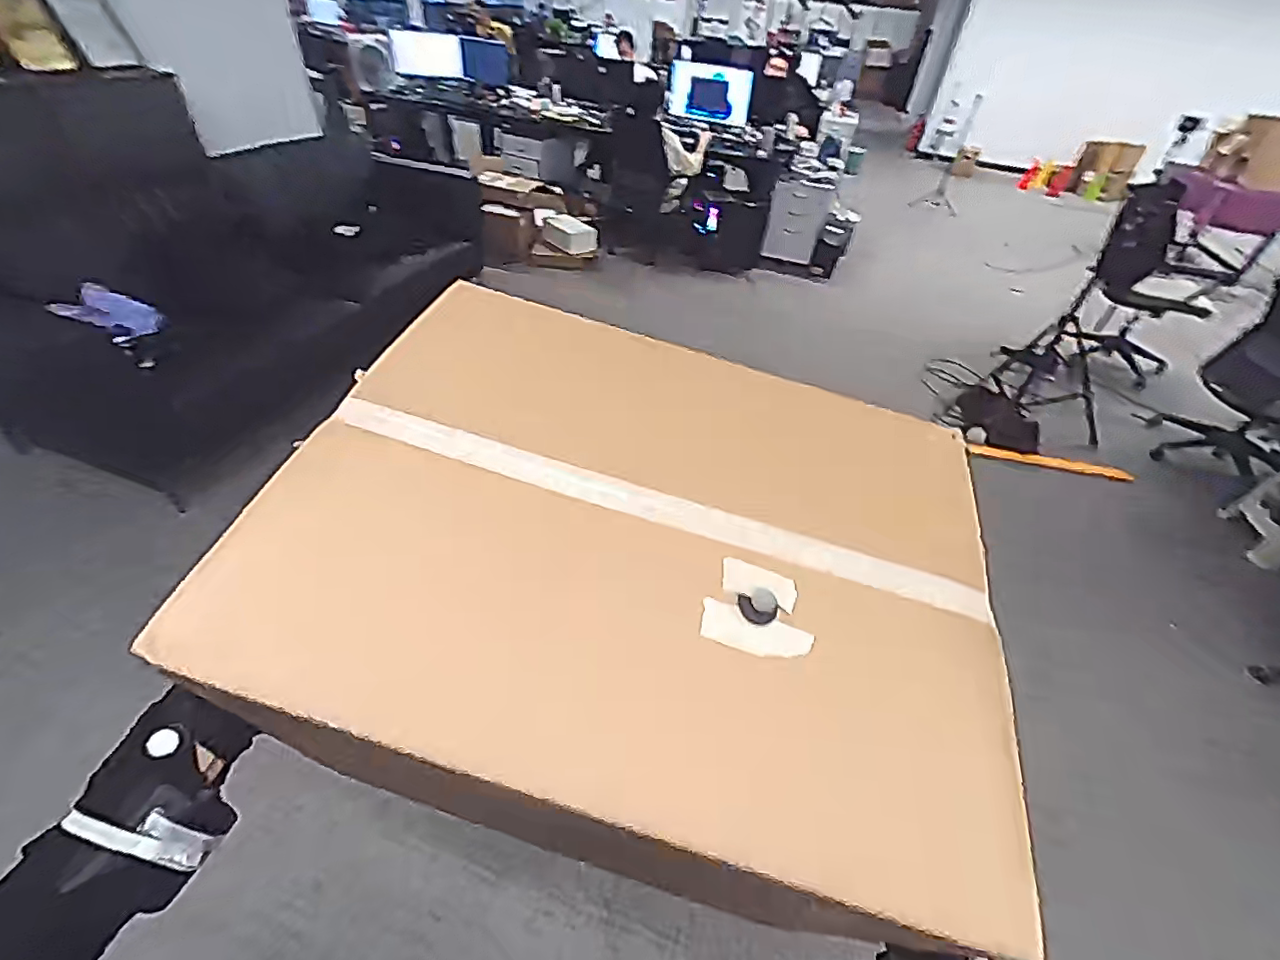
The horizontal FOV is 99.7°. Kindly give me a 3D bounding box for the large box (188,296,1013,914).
[{"bbox_3d":[-0.011,0.110,0.452,0.408,0.320,0.320,18,53,2],"label":"large box"}]
